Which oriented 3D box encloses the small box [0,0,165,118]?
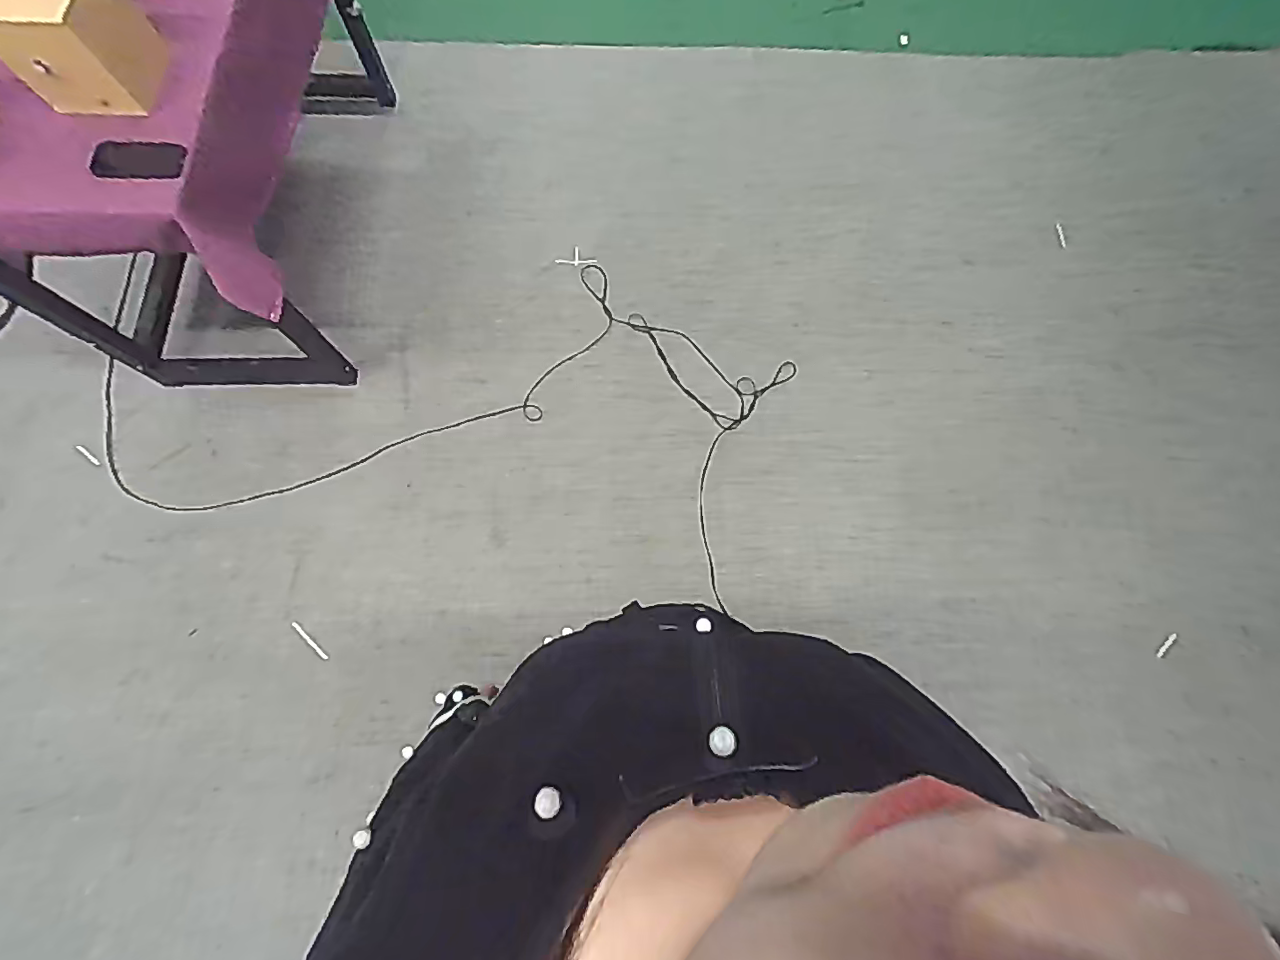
[{"bbox_3d":[-1.009,-0.784,0.965,0.168,0.176,0.179,1,73,-2],"label":"small box"}]
